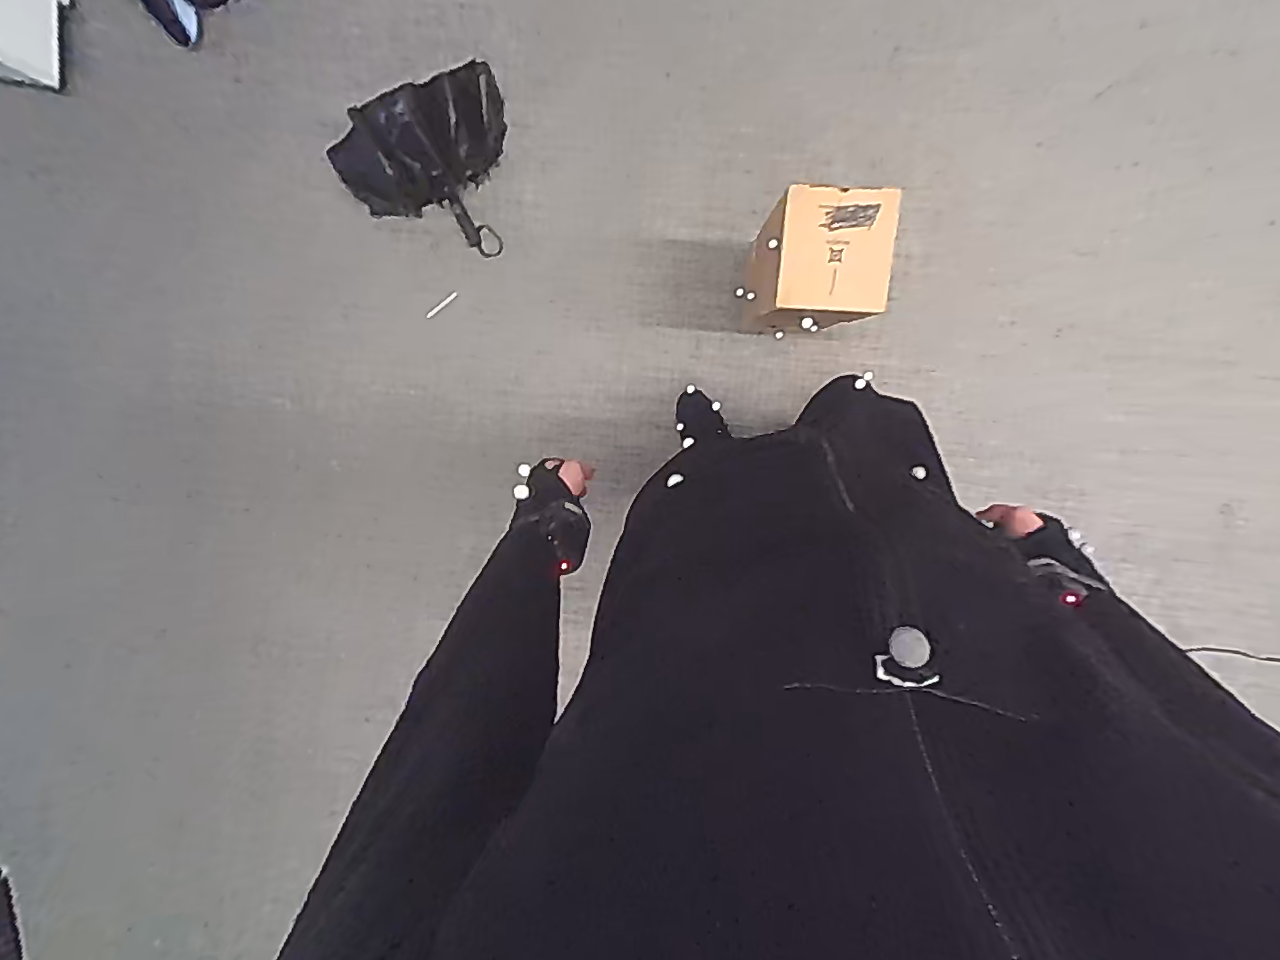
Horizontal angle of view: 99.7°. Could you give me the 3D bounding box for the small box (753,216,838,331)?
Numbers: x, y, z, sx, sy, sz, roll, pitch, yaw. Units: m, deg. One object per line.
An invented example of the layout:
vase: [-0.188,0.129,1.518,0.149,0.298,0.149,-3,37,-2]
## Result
small box: [0.315,-0.385,1.036,0.168,0.176,0.179,4,99,3]

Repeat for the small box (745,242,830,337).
small box: [0.327,-0.413,1.194,0.168,0.176,0.179,3,101,3]

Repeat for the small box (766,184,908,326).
small box: [0.305,-0.353,0.874,0.168,0.176,0.179,5,101,3]
